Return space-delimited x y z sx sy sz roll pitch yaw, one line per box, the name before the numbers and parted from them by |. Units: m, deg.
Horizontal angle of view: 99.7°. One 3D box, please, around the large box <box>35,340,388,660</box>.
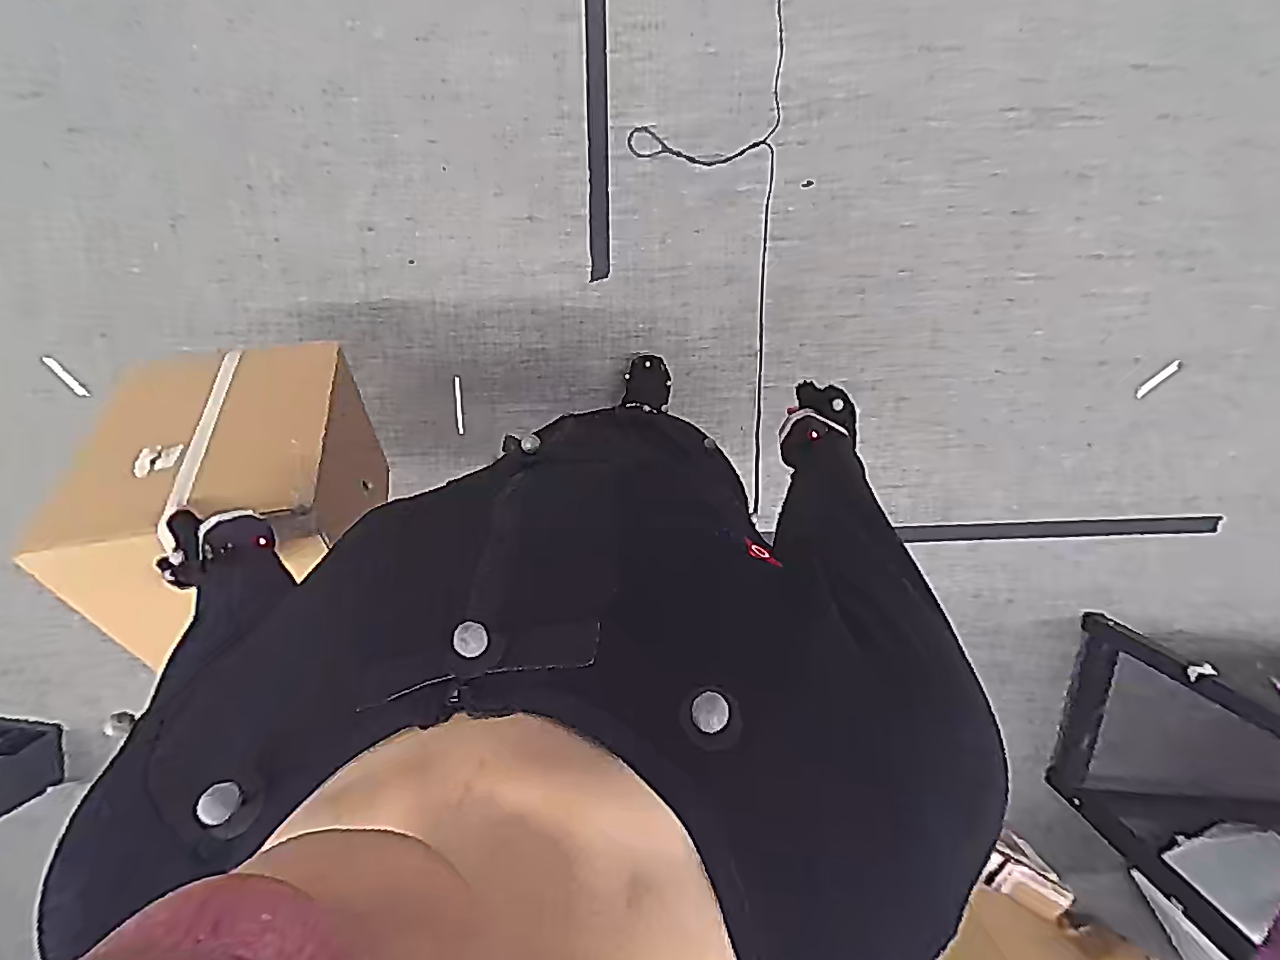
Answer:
large box | -0.620 0.018 0.894 0.320 0.408 0.320 -10 138 -12
